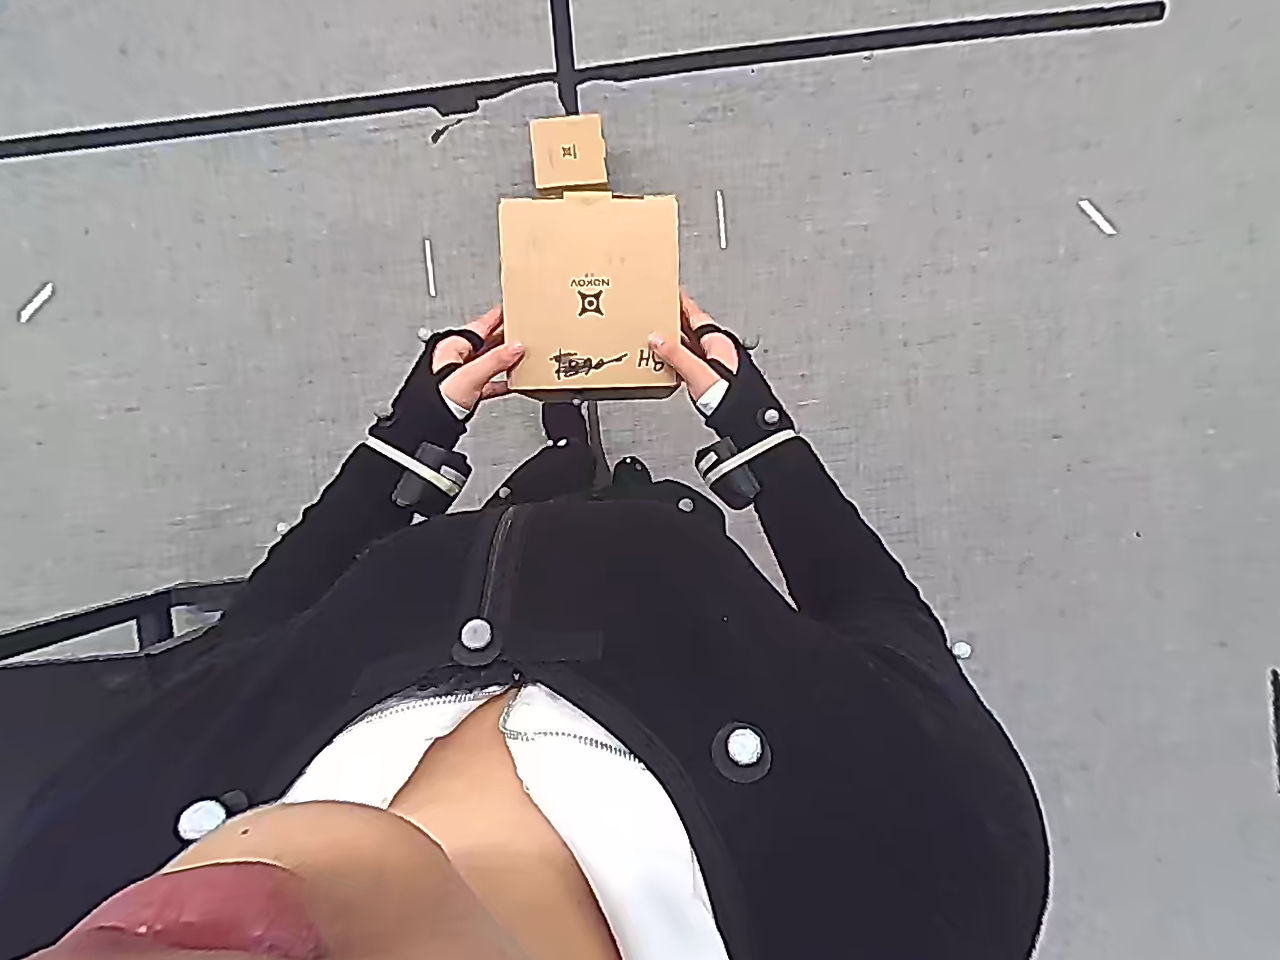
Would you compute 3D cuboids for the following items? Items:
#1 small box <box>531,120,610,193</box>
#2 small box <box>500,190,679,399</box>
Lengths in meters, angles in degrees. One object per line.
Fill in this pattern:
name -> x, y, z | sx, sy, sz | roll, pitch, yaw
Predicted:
small box -> -0.169, -0.781, 1.385 | 0.179, 0.176, 0.168 | -6, 91, 1
small box -> -0.048, -0.183, 0.581 | 0.168, 0.176, 0.179 | -2, 94, 0
